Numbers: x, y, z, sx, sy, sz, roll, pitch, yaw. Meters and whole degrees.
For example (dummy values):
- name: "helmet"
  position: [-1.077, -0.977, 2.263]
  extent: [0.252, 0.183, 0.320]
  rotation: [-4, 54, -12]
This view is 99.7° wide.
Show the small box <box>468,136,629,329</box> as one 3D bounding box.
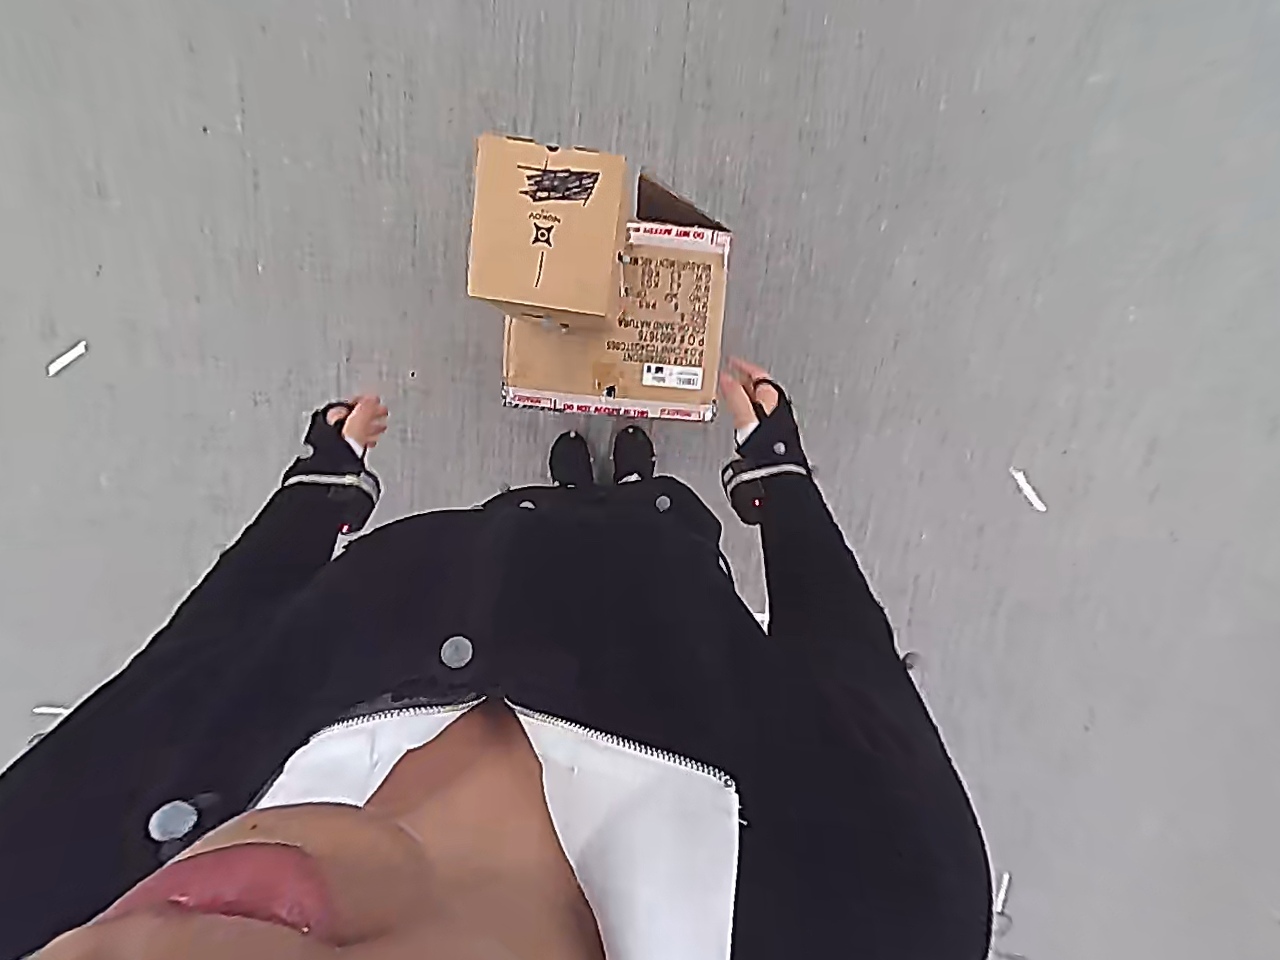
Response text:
- name: "small box"
  position: [-0.108, -0.300, 0.693]
  extent: [0.168, 0.176, 0.179]
  rotation: [9, 102, -2]
